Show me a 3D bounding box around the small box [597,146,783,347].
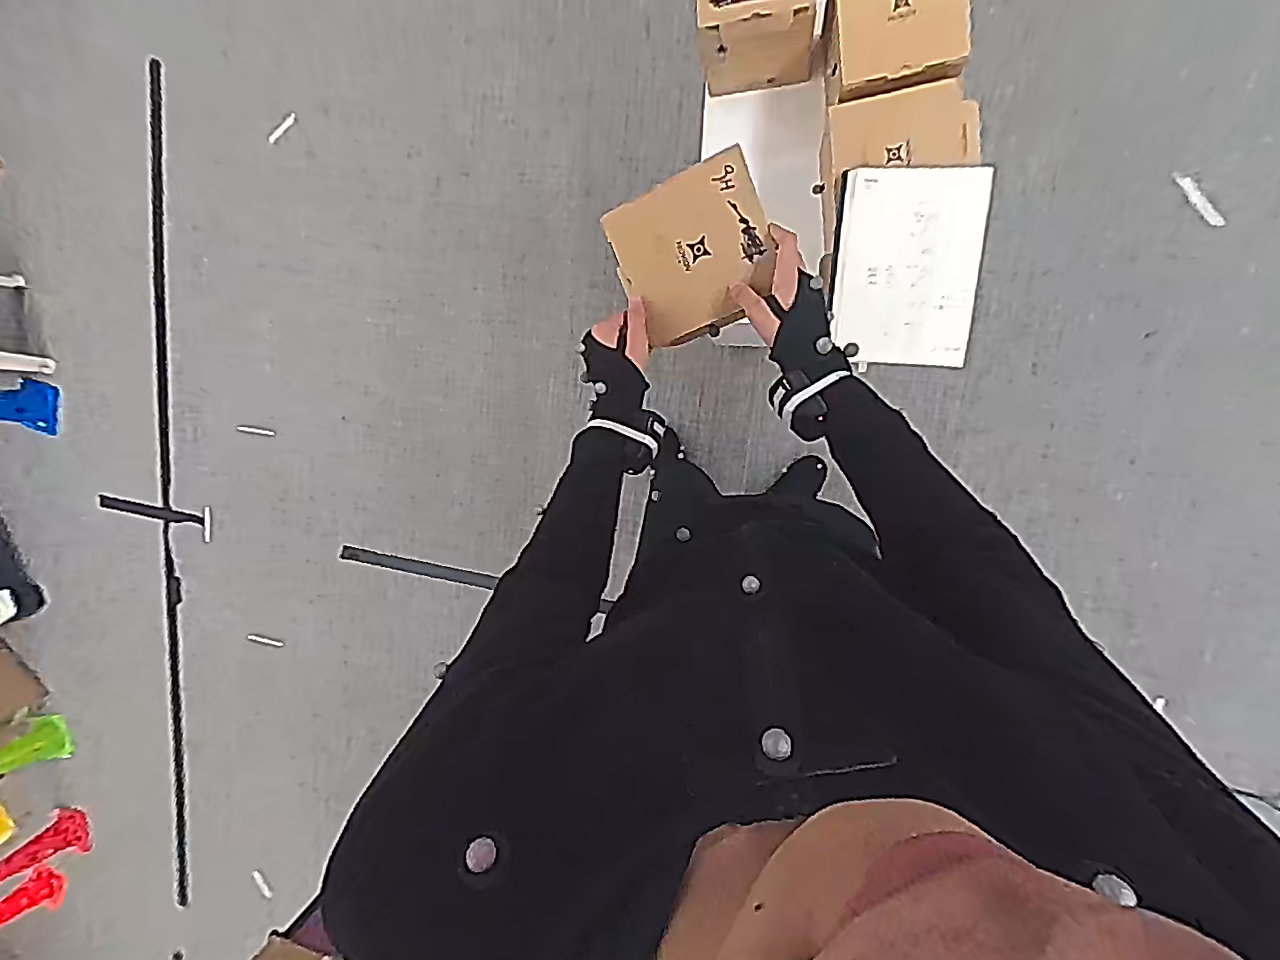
[{"bbox_3d":[0.075,-0.280,0.693,0.179,0.176,0.168,-19,99,20],"label":"small box"}]
